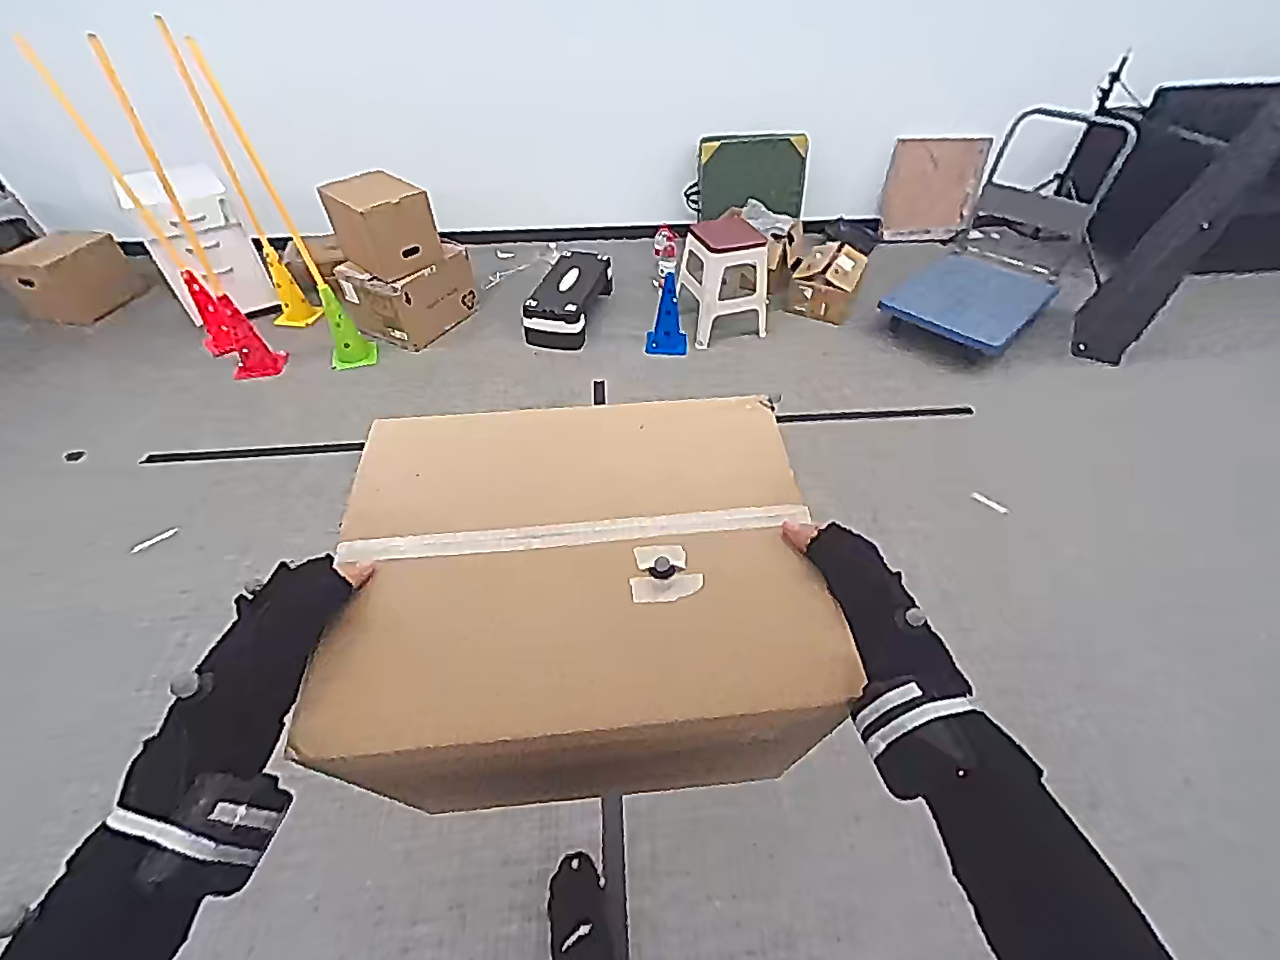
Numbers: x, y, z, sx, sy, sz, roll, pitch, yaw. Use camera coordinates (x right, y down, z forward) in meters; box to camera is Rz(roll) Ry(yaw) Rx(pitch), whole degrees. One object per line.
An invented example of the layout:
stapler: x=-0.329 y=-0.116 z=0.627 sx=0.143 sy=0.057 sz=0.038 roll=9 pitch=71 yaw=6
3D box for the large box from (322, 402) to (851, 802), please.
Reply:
large box: x=-0.051 y=0.140 z=0.606 sx=0.408 sy=0.320 sz=0.320 roll=-4 pitch=53 yaw=-4
